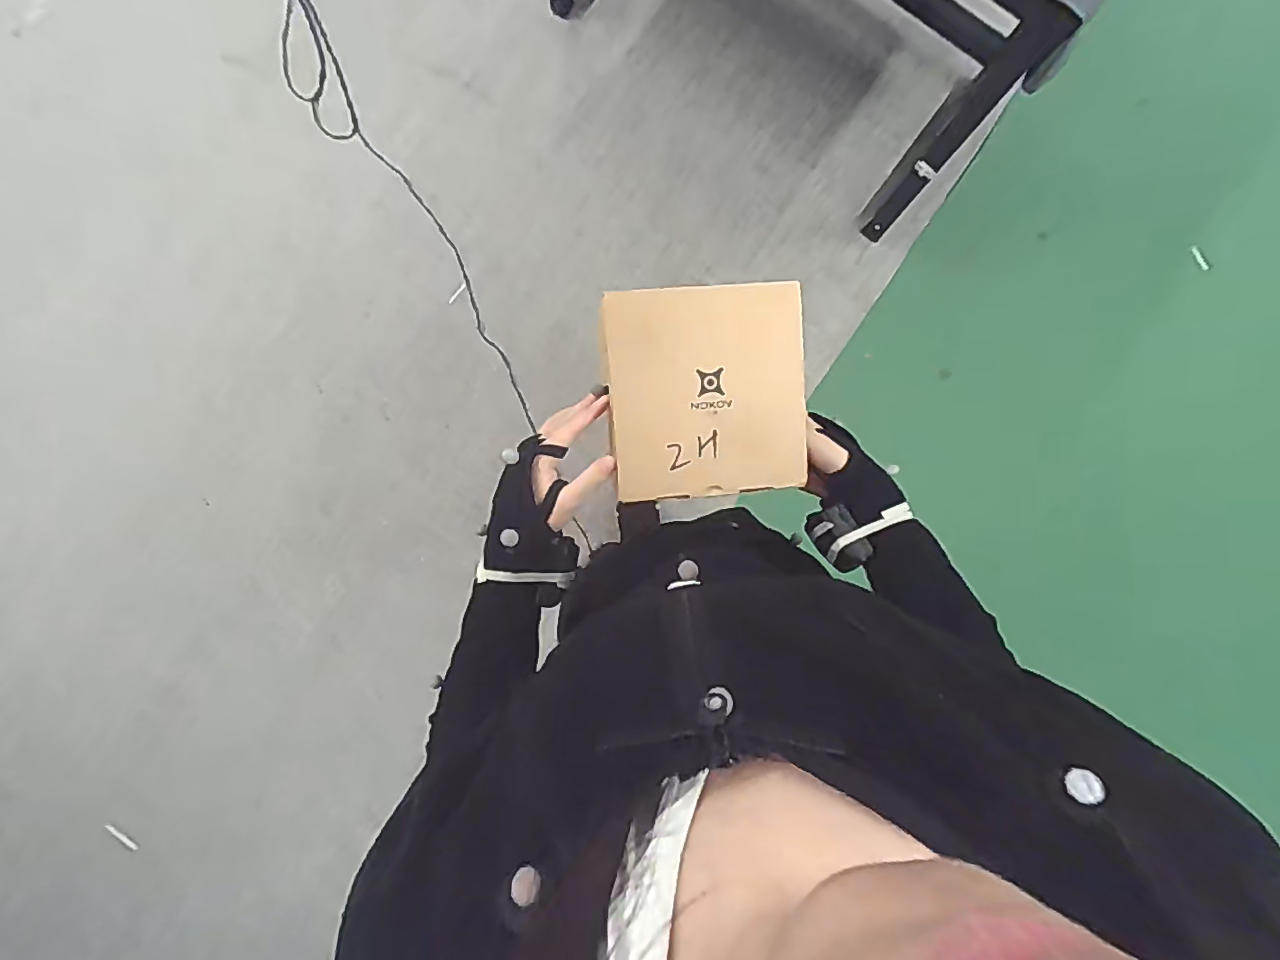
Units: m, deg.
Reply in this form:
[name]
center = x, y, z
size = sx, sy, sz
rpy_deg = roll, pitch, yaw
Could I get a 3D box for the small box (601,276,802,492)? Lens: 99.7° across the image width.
[small box]
center = 0.049, -0.089, 0.536
size = 0.168, 0.176, 0.179
rpy_deg = -5, 98, -3
